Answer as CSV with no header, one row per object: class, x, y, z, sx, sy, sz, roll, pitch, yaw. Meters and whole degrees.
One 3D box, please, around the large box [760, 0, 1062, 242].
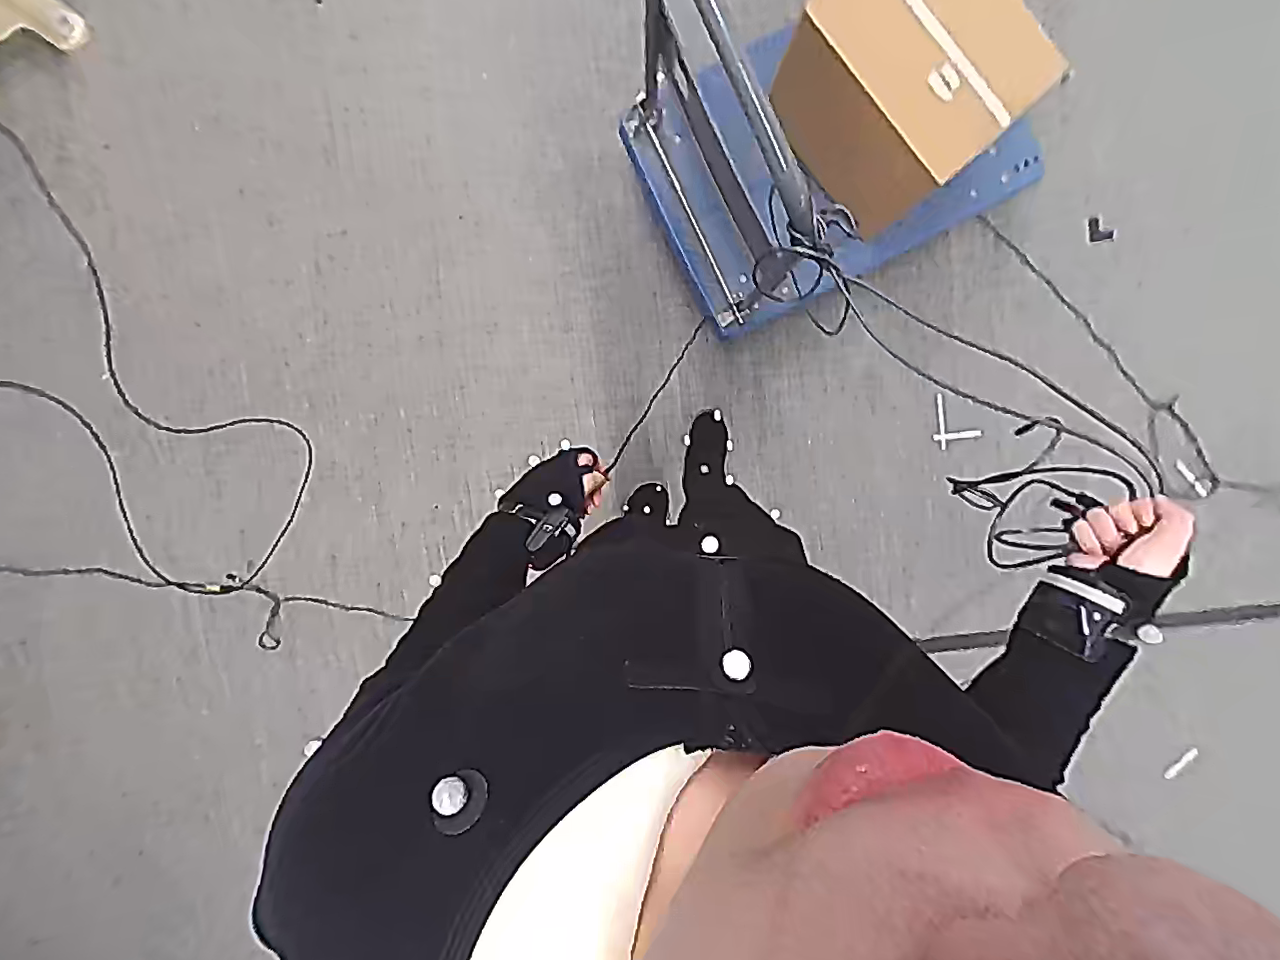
large box,0.522,-0.794,1.120,0.320,0.320,0.408,-41,96,2
